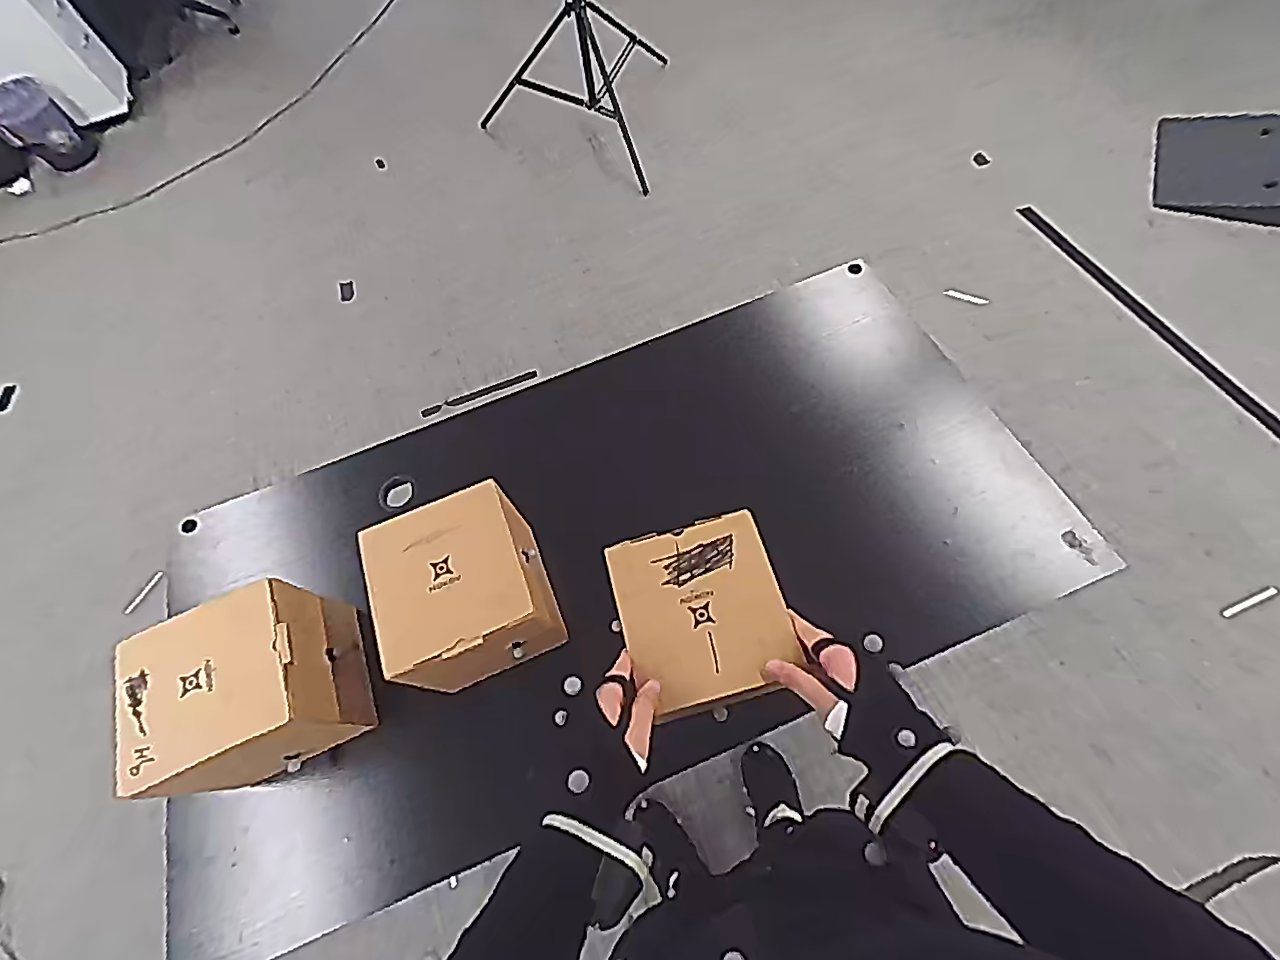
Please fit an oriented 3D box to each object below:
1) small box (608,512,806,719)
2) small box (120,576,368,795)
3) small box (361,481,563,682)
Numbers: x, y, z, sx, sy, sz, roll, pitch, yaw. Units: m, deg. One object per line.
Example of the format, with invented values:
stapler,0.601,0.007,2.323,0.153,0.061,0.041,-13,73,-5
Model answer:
small box,0.068,0.162,0.621,0.168,0.176,0.179,-15,65,-1
small box,-0.446,0.239,0.635,0.179,0.176,0.168,-24,64,-7
small box,-0.208,0.134,0.664,0.168,0.176,0.179,-22,64,-6
